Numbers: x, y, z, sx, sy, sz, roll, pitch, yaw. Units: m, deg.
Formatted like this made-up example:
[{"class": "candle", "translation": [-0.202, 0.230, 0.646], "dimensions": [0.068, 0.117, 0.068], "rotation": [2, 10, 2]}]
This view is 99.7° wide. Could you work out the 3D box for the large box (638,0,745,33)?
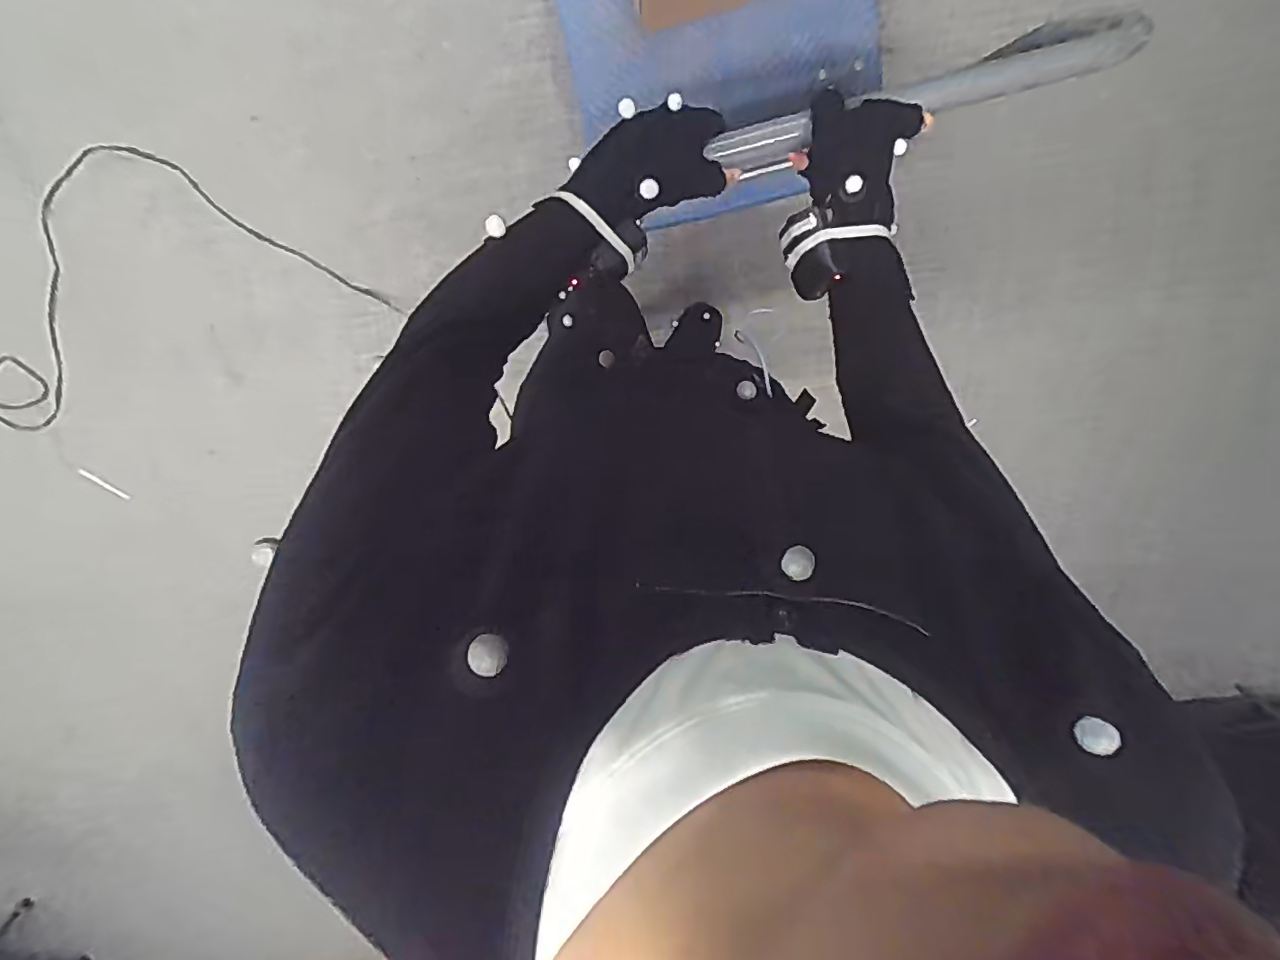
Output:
[{"class": "large box", "translation": [0.162, -0.971, 0.812], "dimensions": [0.408, 0.320, 0.320], "rotation": [-13, 110, 7]}]
